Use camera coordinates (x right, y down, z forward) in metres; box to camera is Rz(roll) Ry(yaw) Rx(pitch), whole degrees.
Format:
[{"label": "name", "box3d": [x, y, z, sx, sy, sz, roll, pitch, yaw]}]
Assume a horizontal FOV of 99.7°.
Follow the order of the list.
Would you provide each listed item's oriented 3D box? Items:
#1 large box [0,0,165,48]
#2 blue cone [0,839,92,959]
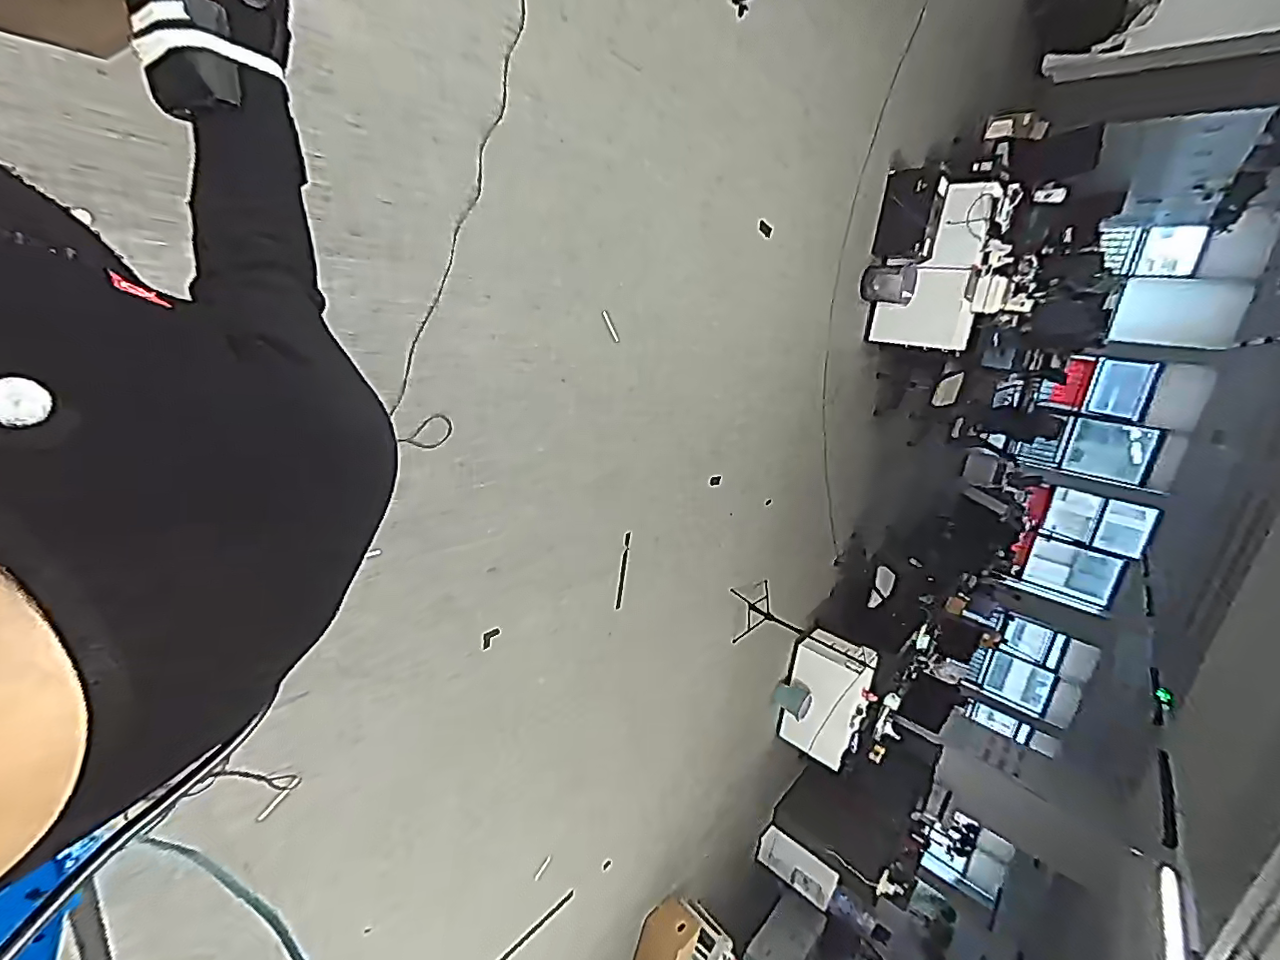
[{"label": "large box", "box3d": [-0.542, -0.488, 0.266, 0.408, 0.320, 0.320, -18, 123, -48]}, {"label": "blue cone", "box3d": [-1.264, 0.960, 1.115, 0.193, 0.380, 0.192, 19, 92, -51]}]
